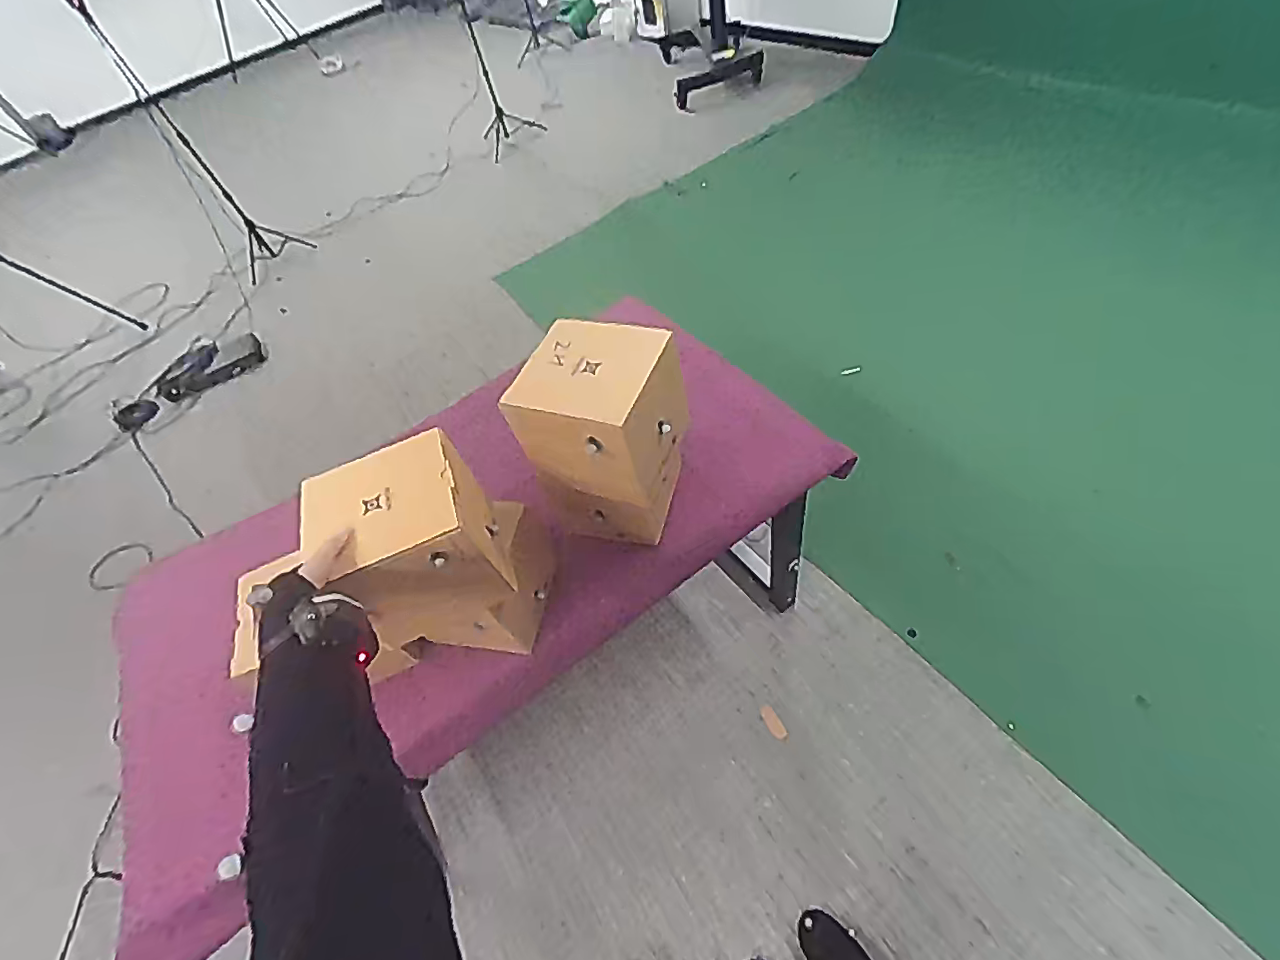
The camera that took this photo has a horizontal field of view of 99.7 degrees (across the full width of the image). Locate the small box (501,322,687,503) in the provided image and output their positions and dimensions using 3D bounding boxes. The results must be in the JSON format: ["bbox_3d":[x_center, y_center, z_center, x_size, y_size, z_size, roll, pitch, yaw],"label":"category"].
[{"bbox_3d":[-0.048,-0.088,0.735,0.179,0.176,0.168,13,57,23],"label":"small box"}]

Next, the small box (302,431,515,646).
[{"bbox_3d":[-0.277,0.077,0.666,0.179,0.176,0.168,-23,52,-6],"label":"small box"}]

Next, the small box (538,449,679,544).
[{"bbox_3d":[-0.039,-0.014,0.887,0.168,0.176,0.179,7,56,18],"label":"small box"}]
